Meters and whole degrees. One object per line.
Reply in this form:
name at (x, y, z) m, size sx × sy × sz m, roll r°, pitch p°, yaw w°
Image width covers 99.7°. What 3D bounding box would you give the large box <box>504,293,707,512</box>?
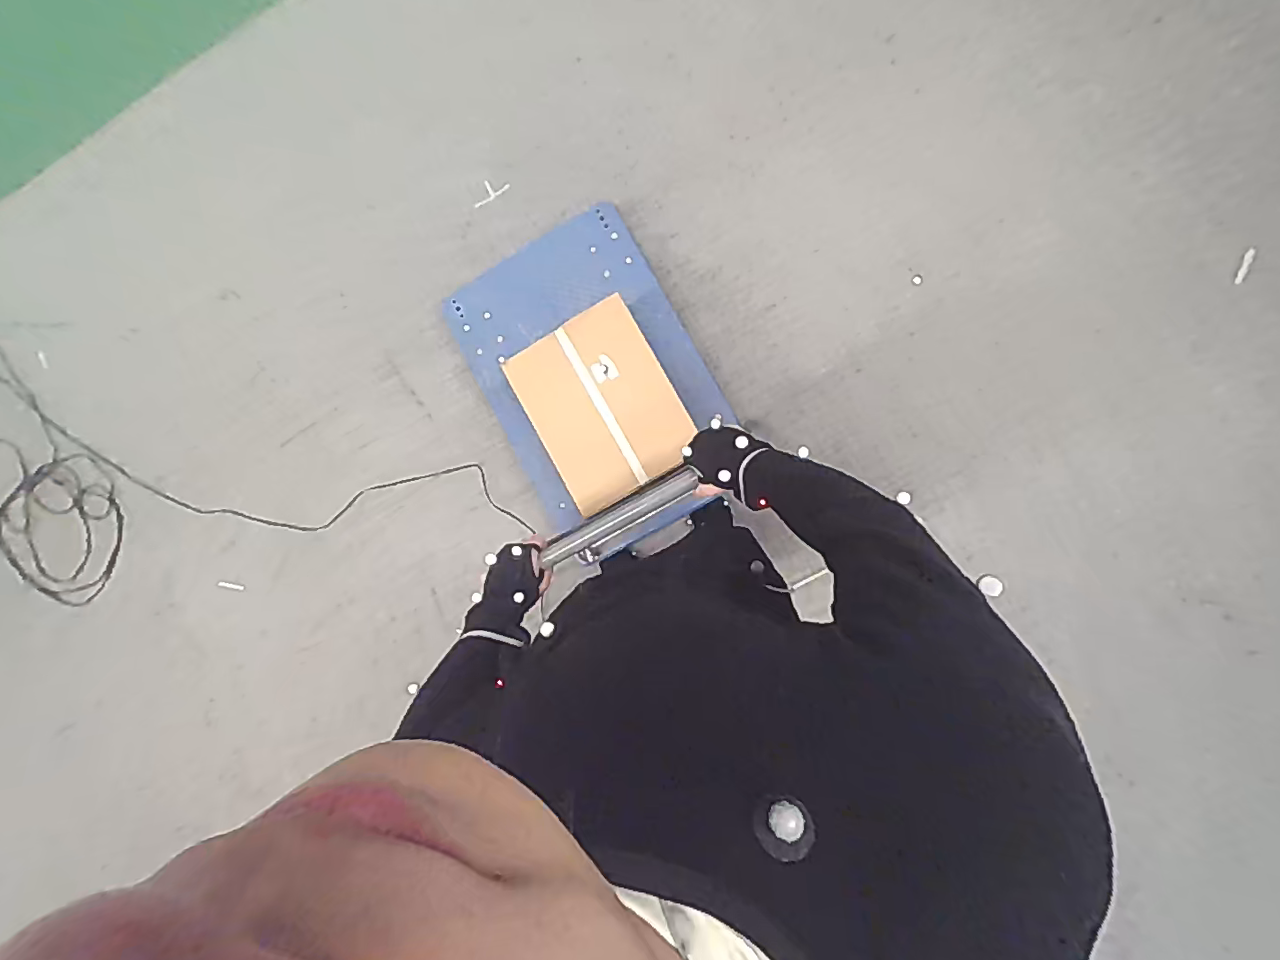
large box at (-0.064, -0.169, 1.345) m, size 0.320 × 0.320 × 0.408 m, roll -29°, pitch 85°, yaw 6°
